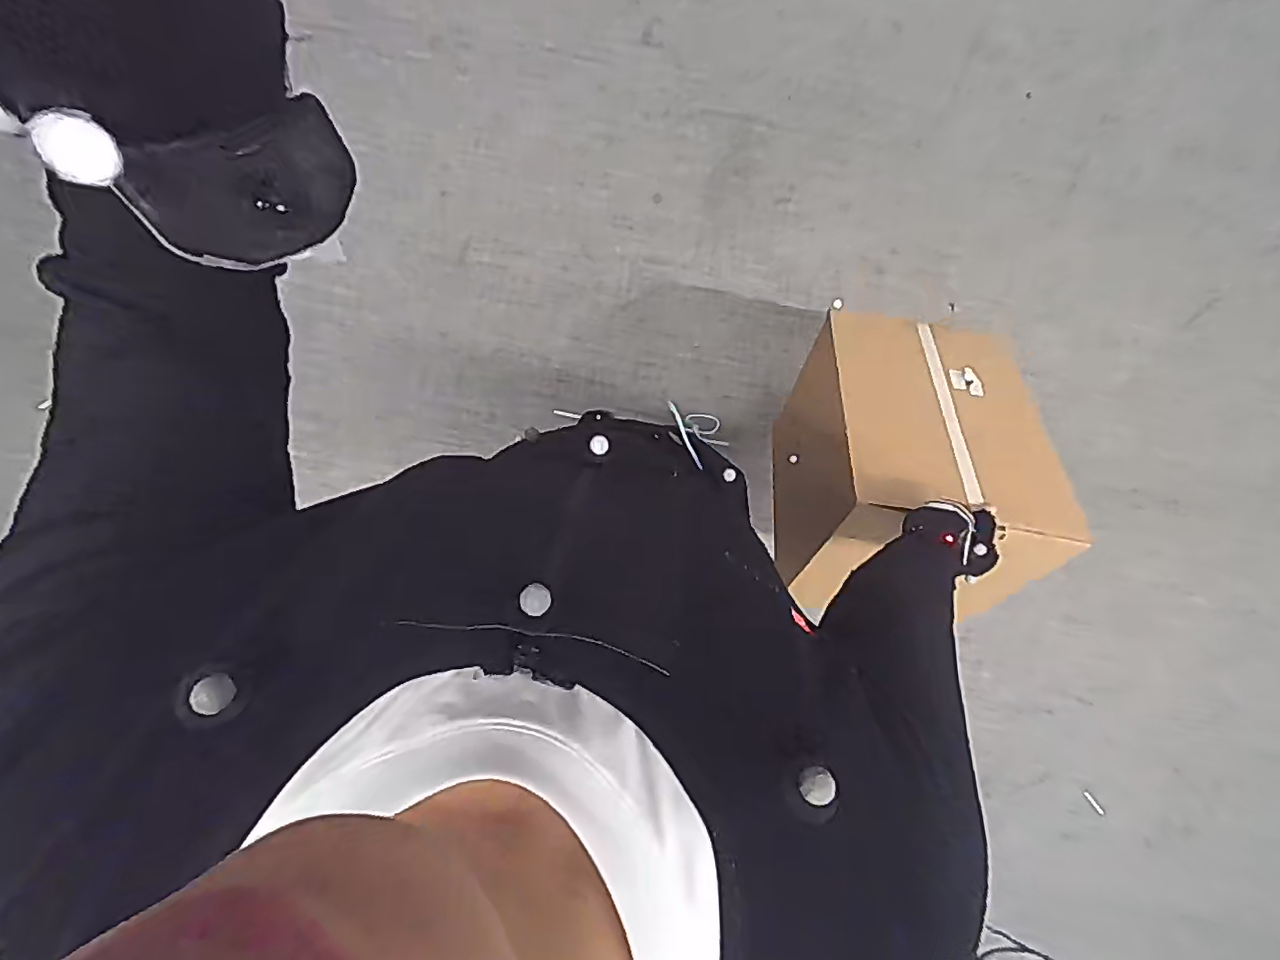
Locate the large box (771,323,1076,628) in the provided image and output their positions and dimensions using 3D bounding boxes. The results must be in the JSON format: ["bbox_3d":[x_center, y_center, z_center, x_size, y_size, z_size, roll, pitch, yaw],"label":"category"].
[{"bbox_3d":[0.427,-0.005,0.939,0.320,0.408,0.320,11,142,-2],"label":"large box"}]
